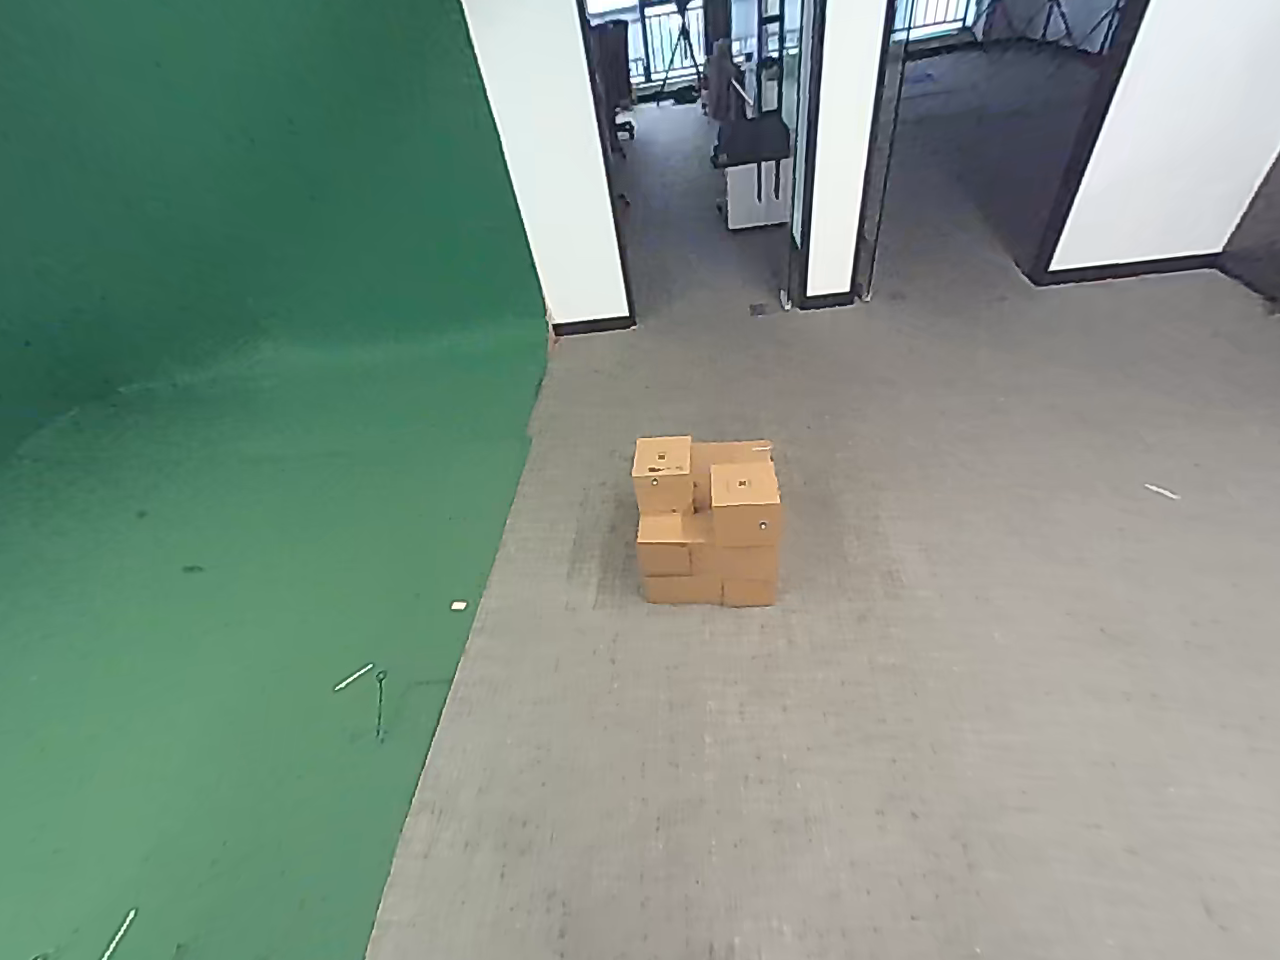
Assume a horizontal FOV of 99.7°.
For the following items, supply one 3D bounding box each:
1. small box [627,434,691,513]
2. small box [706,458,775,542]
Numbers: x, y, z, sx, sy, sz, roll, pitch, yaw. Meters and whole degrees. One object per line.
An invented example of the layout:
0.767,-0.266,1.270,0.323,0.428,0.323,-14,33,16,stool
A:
0.063,-0.020,1.626,0.168,0.176,0.179,-2,42,10,small box
0.275,0.058,1.498,0.179,0.176,0.168,-3,43,8,small box
